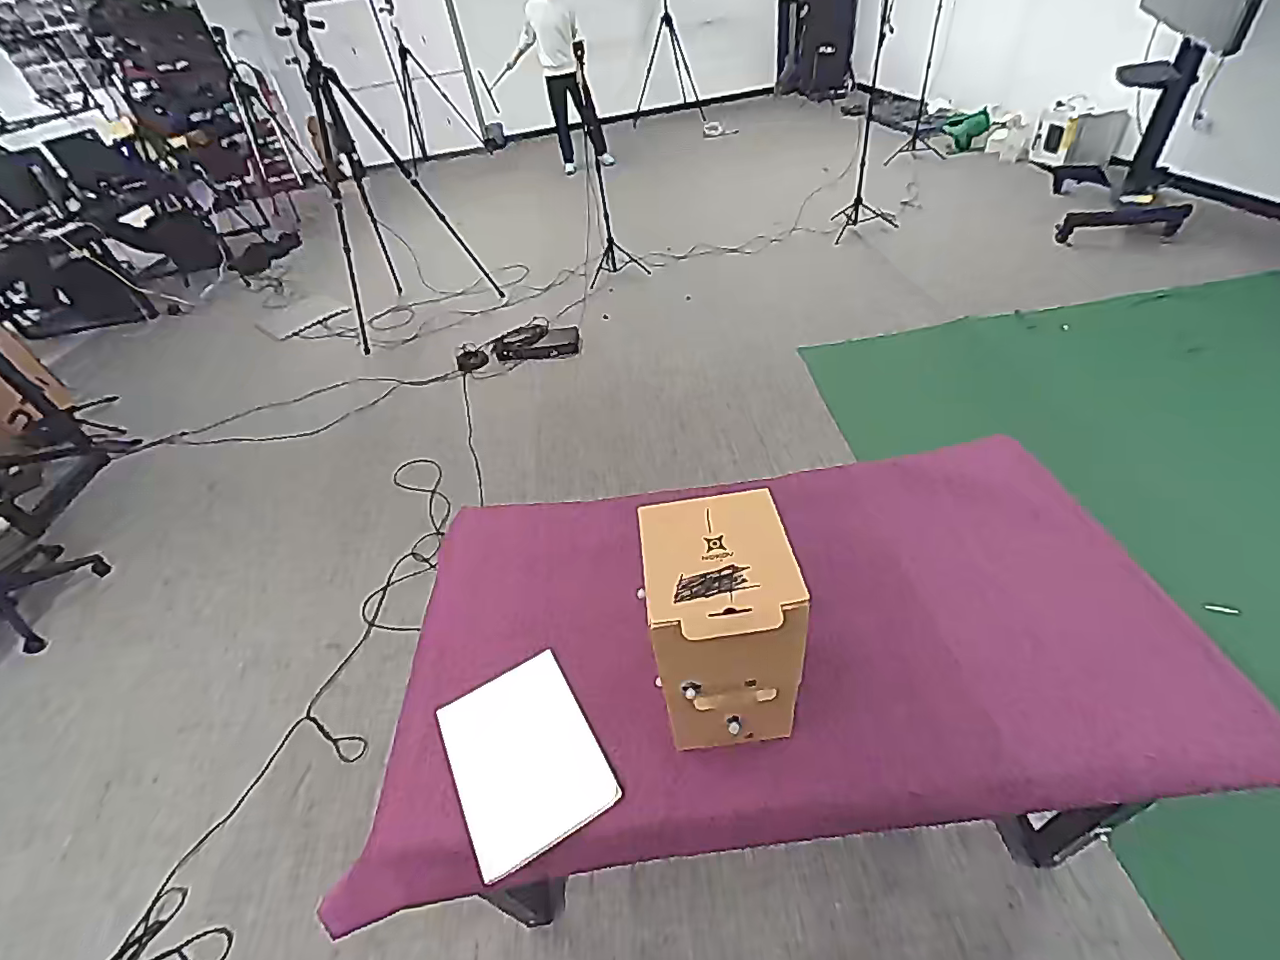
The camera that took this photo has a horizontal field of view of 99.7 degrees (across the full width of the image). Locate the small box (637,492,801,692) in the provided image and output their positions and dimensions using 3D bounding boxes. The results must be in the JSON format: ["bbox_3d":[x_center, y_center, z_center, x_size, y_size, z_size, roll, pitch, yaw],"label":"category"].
[{"bbox_3d":[0.092,0.142,0.664,0.168,0.176,0.179,-8,40,2],"label":"small box"}]

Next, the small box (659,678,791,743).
[{"bbox_3d":[0.113,0.260,0.779,0.168,0.176,0.179,-8,42,2],"label":"small box"}]
